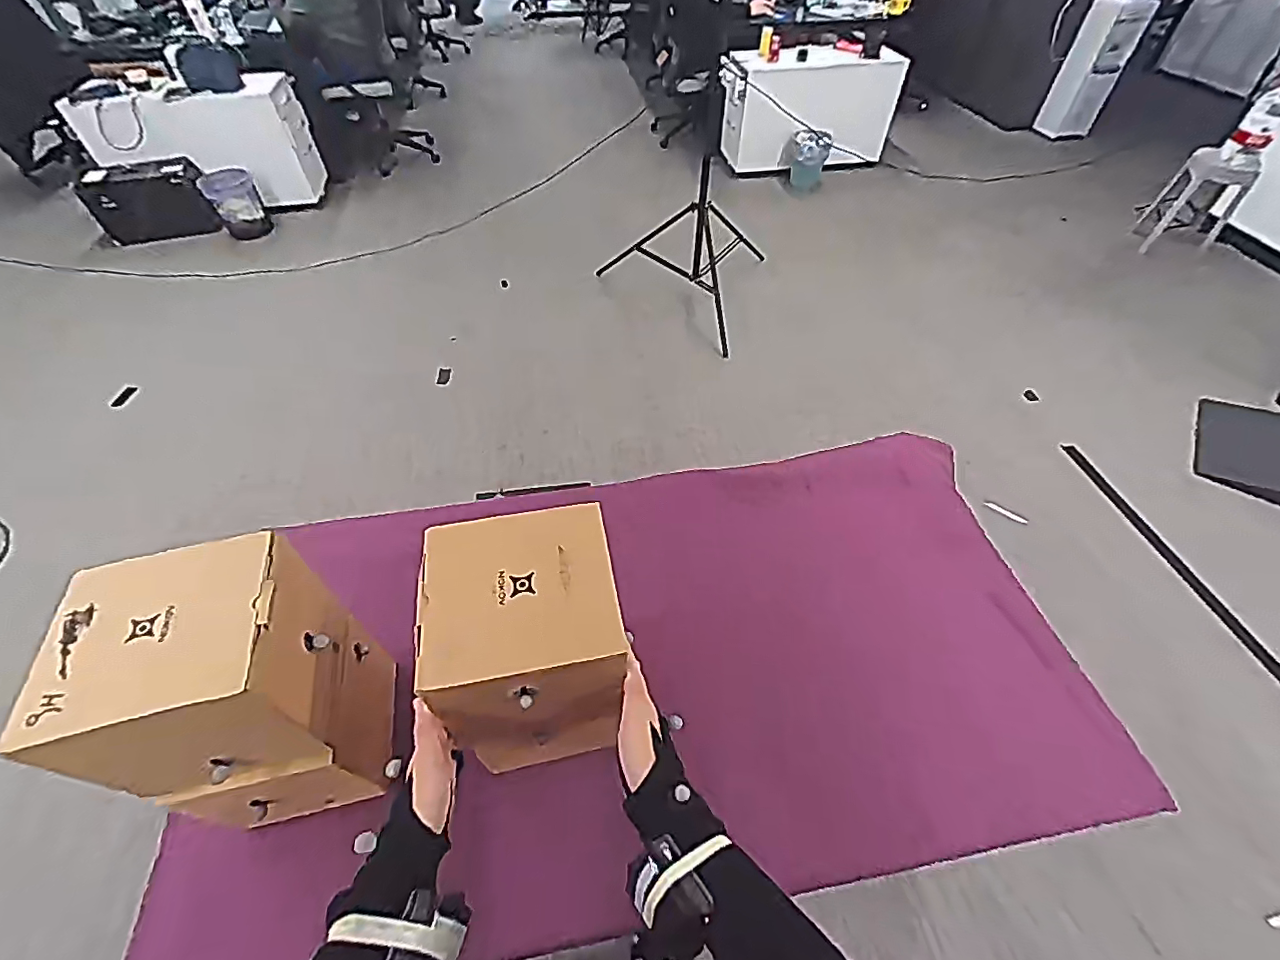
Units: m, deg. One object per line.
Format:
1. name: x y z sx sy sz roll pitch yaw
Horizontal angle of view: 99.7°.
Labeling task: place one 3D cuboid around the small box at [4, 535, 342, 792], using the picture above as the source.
1. small box: -0.417 0.181 0.531 0.179 0.176 0.168 -12 51 -10

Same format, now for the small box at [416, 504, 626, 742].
1. small box: -0.112 0.149 0.555 0.179 0.176 0.168 -8 50 -9

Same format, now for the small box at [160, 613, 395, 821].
1. small box: -0.411 0.291 0.653 0.168 0.176 0.179 -11 51 -9

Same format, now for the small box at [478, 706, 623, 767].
1. small box: -0.121 0.246 0.689 0.179 0.176 0.168 -9 51 -8
